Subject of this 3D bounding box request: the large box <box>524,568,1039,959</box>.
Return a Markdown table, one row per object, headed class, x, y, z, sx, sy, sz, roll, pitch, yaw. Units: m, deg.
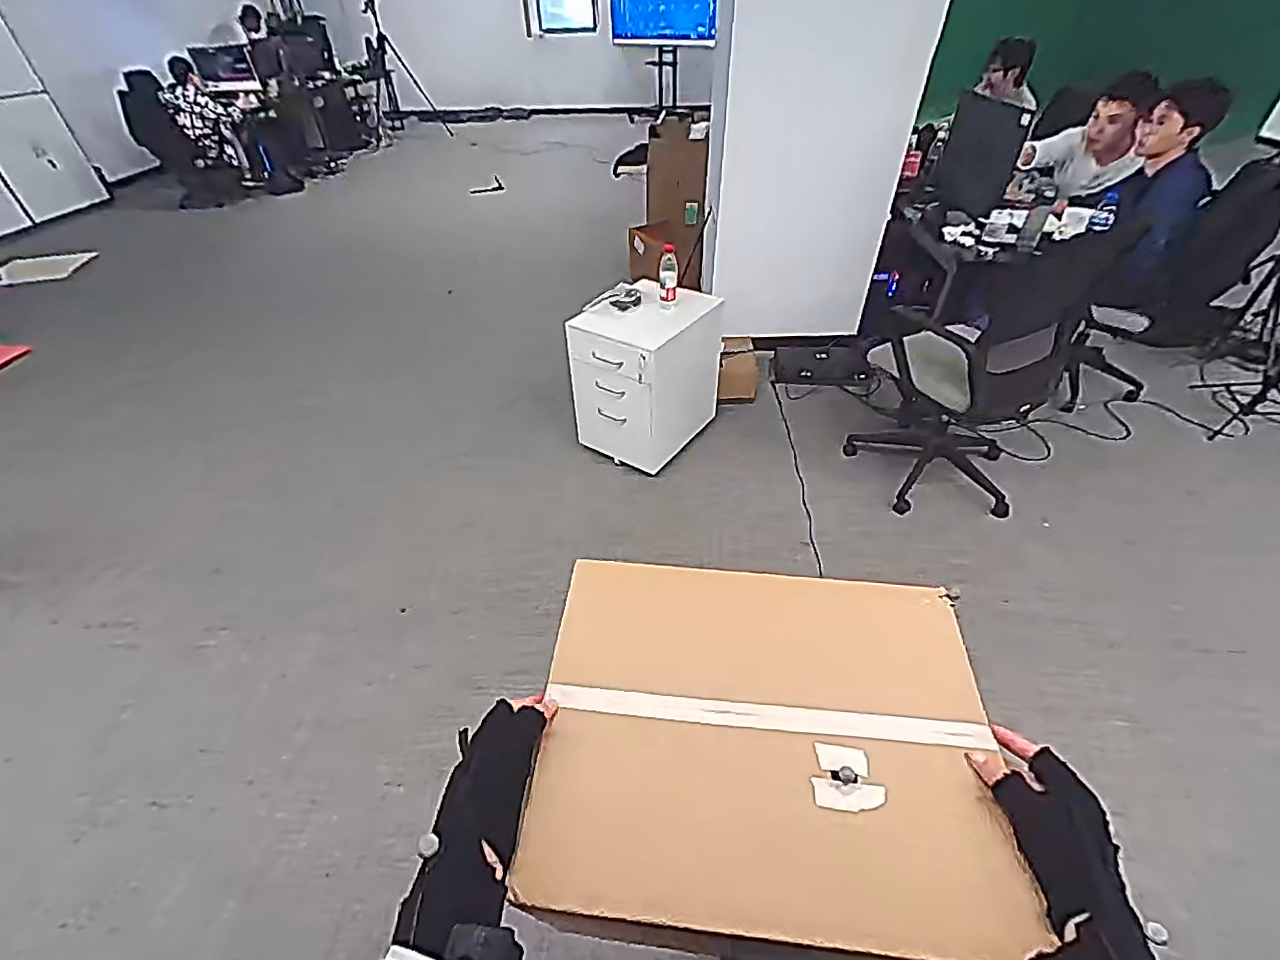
| class | x | y | z | sx | sy | sz | roll | pitch | yaw |
| --- | --- | --- | --- | --- | --- | --- | --- | --- | --- |
| large box | 0.117 | 0.326 | 0.624 | 0.408 | 0.320 | 0.320 | 4 | 48 | 5 |
